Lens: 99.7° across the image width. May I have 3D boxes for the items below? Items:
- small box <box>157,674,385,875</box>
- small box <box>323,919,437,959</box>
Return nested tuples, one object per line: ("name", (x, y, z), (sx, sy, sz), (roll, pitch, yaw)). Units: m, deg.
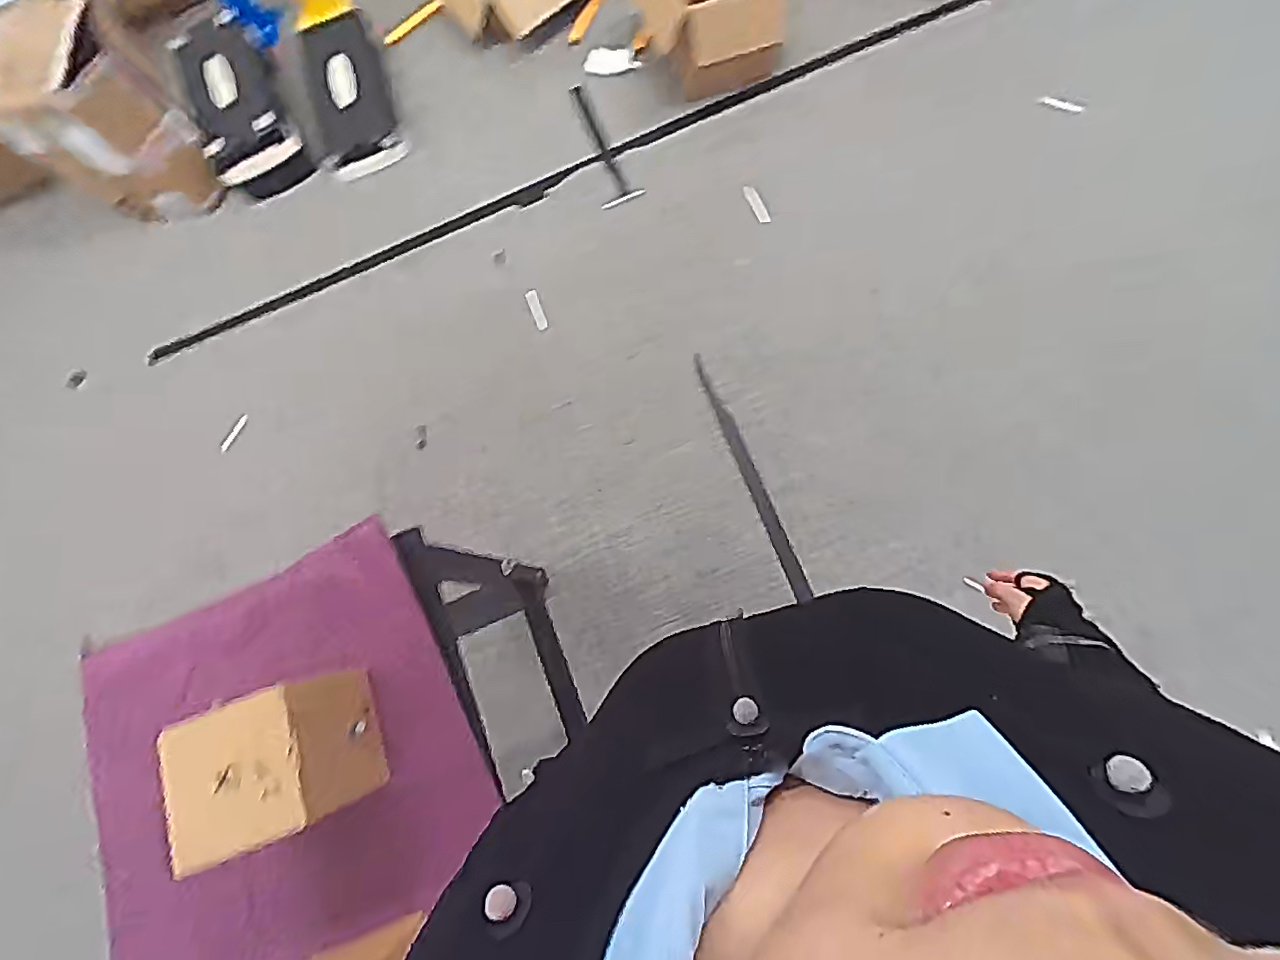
("small box", (-0.480, 0.375, 0.722), (0.179, 0.176, 0.168), (-22, 76, 2))
("small box", (-0.351, 0.678, 0.638), (0.179, 0.176, 0.168), (-24, 75, 0))
